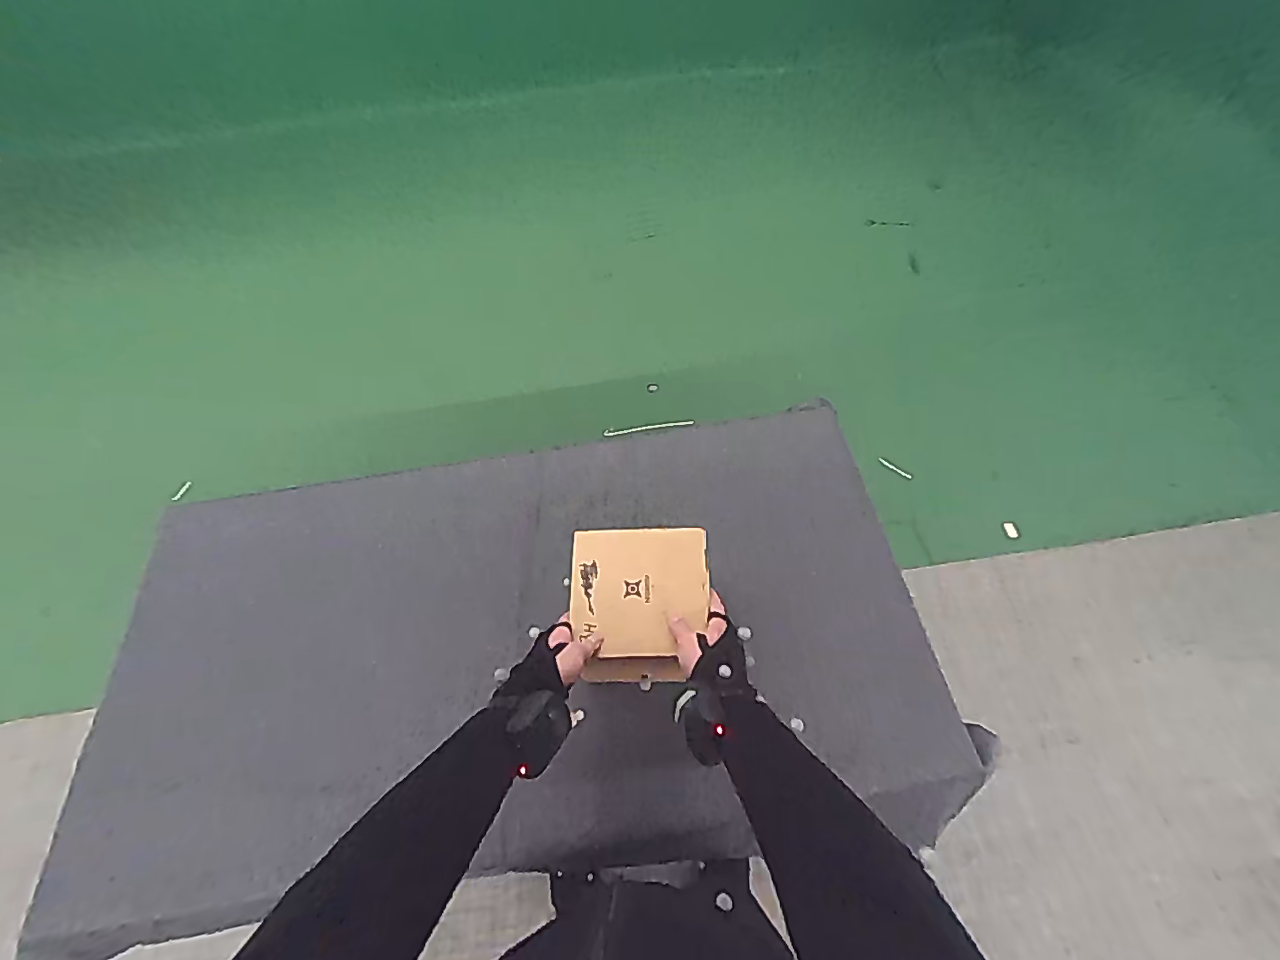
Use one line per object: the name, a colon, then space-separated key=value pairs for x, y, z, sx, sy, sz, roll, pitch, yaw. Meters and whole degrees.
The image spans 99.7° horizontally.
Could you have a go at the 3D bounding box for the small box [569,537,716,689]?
small box: x=0.005 y=0.187 z=0.744 sx=0.179 sy=0.176 sz=0.168 roll=-1 pitch=60 yaw=2
